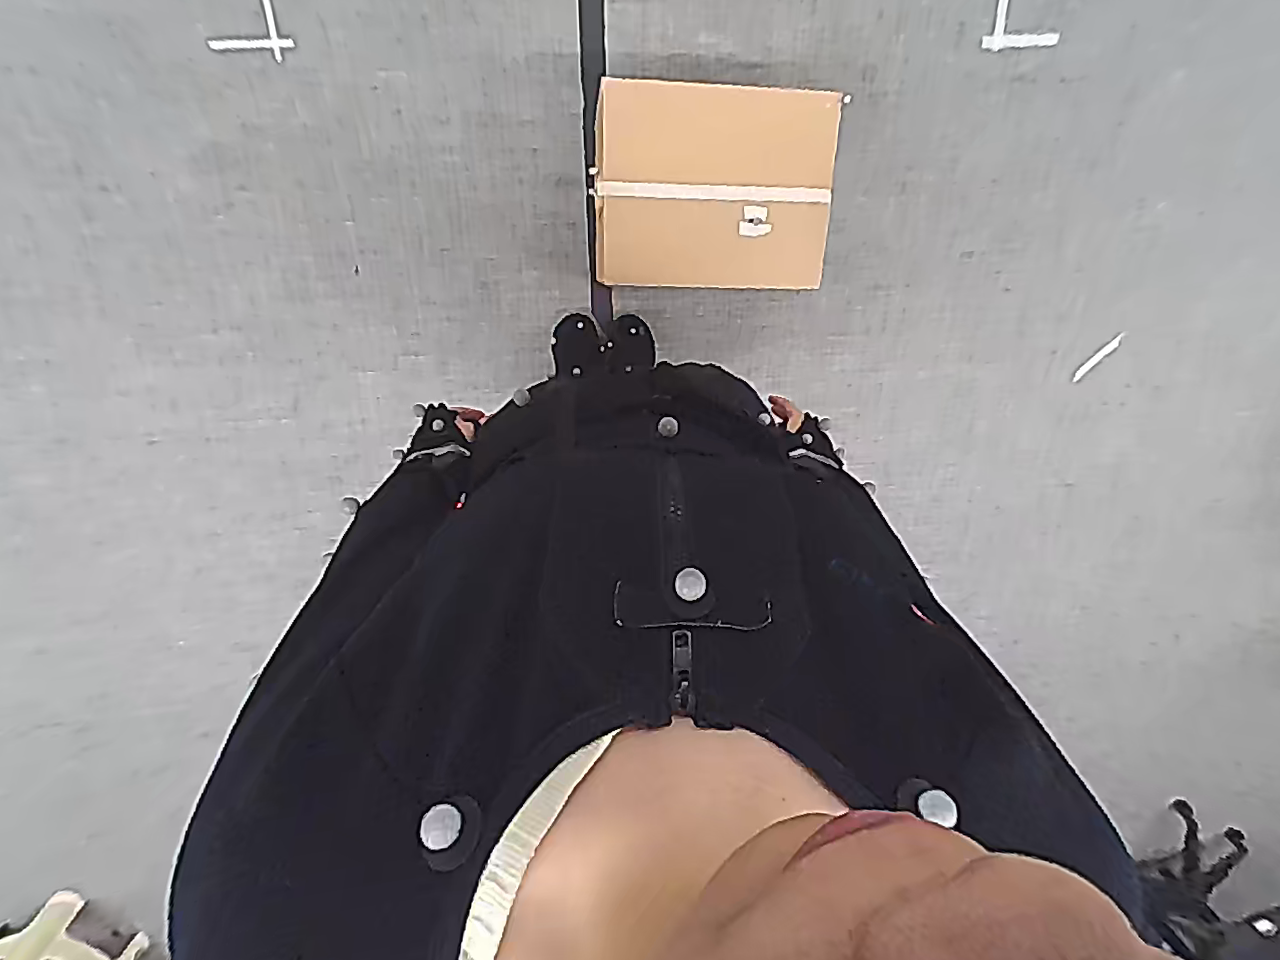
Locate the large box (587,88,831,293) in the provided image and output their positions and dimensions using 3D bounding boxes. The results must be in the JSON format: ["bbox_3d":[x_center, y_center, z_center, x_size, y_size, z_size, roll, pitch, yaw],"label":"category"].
[{"bbox_3d":[0.107,-0.543,1.079,0.408,0.320,0.320,-2,111,-7],"label":"large box"}]
